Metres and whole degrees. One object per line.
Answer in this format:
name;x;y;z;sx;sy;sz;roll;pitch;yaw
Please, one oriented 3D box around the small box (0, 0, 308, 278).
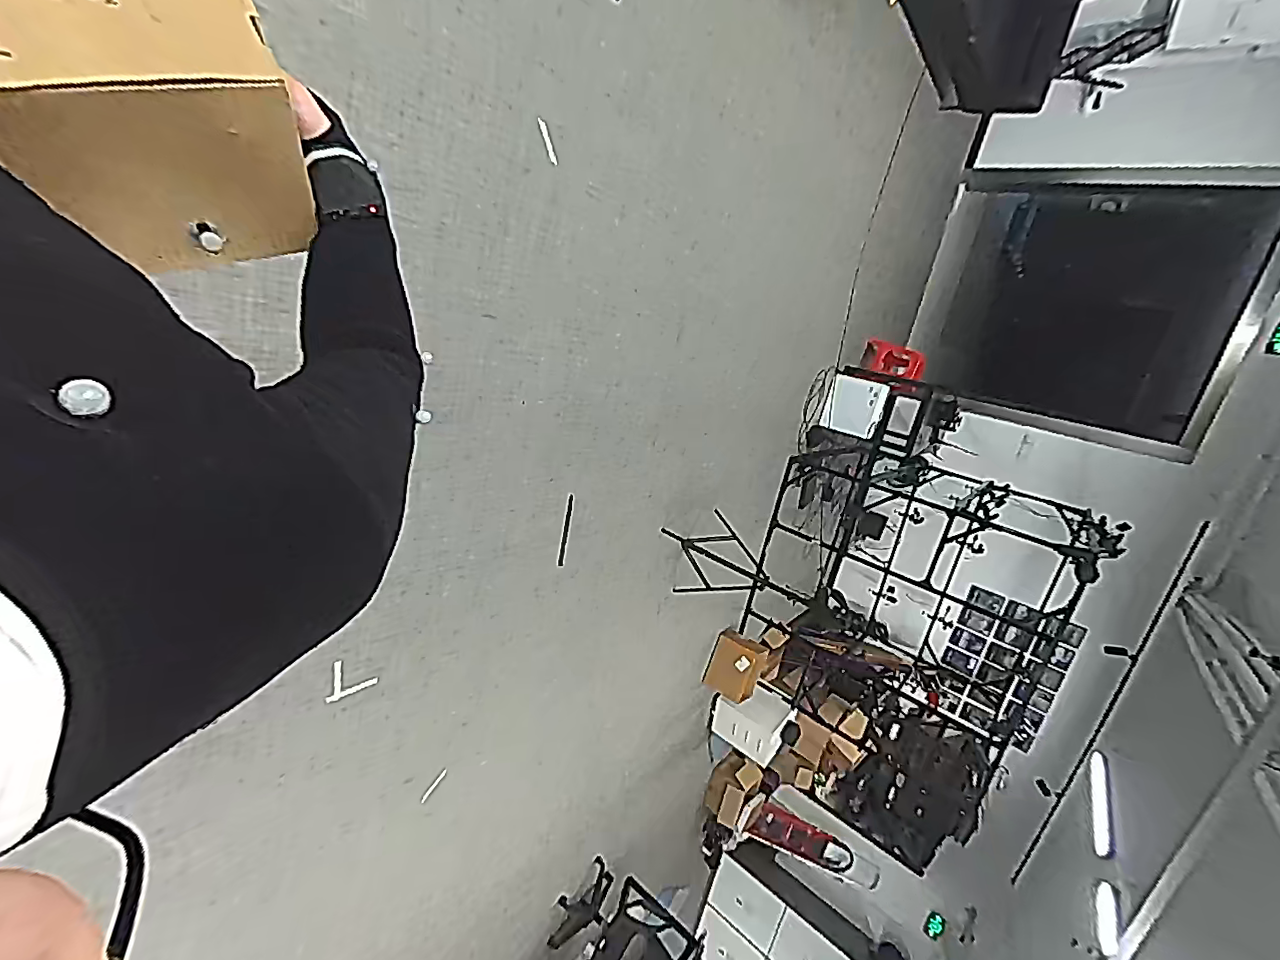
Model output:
small box;-0.392;-0.292;0.432;0.179;0.168;0.176;-25;171;-28
